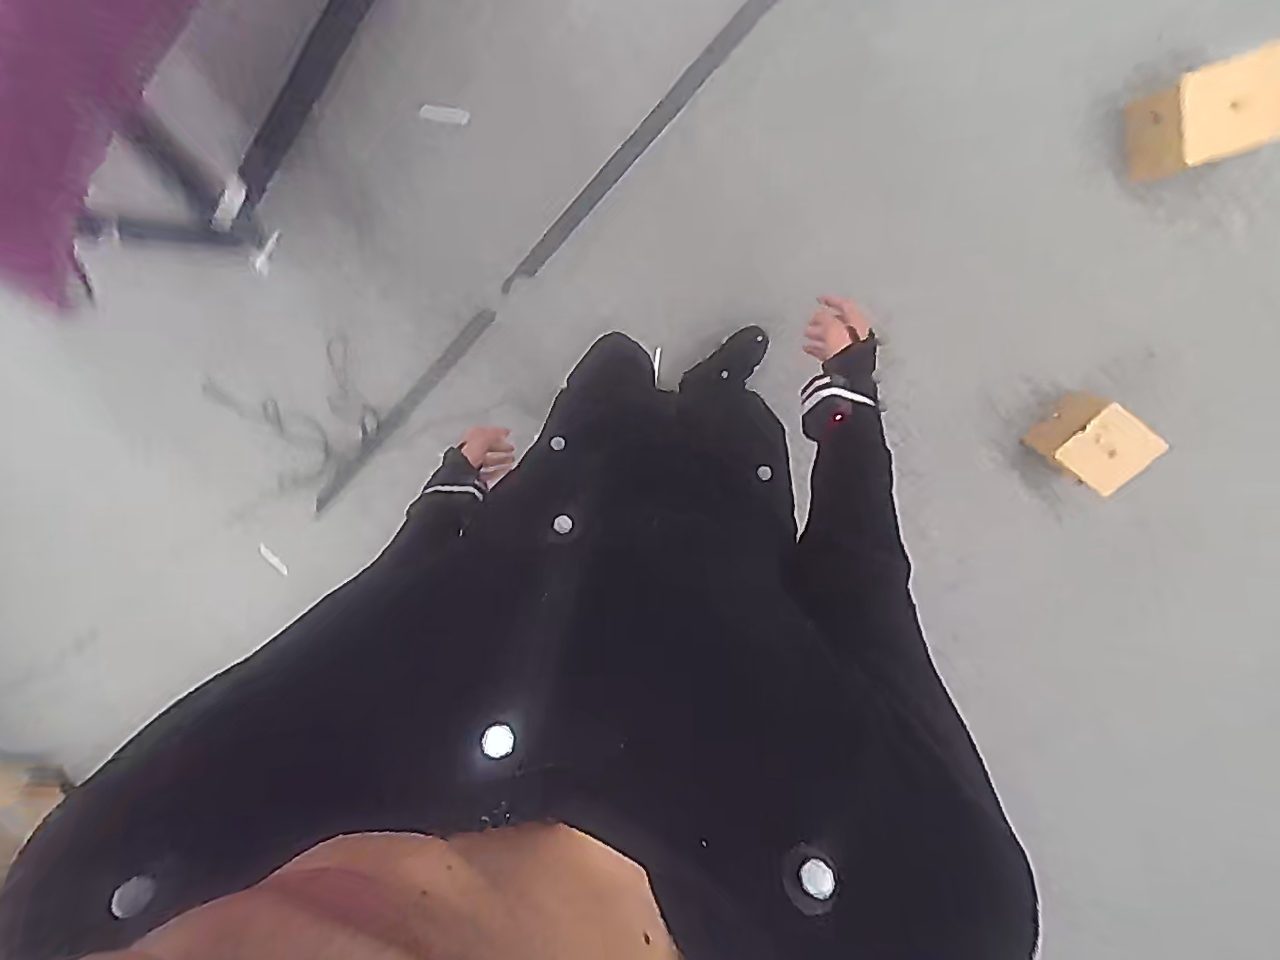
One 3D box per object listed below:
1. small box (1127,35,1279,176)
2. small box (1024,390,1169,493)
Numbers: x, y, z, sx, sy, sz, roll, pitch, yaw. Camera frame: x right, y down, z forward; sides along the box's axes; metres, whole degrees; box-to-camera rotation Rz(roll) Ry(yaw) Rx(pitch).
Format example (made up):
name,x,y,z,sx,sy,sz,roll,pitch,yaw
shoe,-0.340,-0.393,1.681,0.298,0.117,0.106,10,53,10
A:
name,x,y,z,sx,sy,sz,roll,pitch,yaw
small box,1.140,-0.747,1.101,0.179,0.176,0.168,-15,105,15
small box,1.110,-0.103,1.331,0.179,0.176,0.168,37,112,-3
